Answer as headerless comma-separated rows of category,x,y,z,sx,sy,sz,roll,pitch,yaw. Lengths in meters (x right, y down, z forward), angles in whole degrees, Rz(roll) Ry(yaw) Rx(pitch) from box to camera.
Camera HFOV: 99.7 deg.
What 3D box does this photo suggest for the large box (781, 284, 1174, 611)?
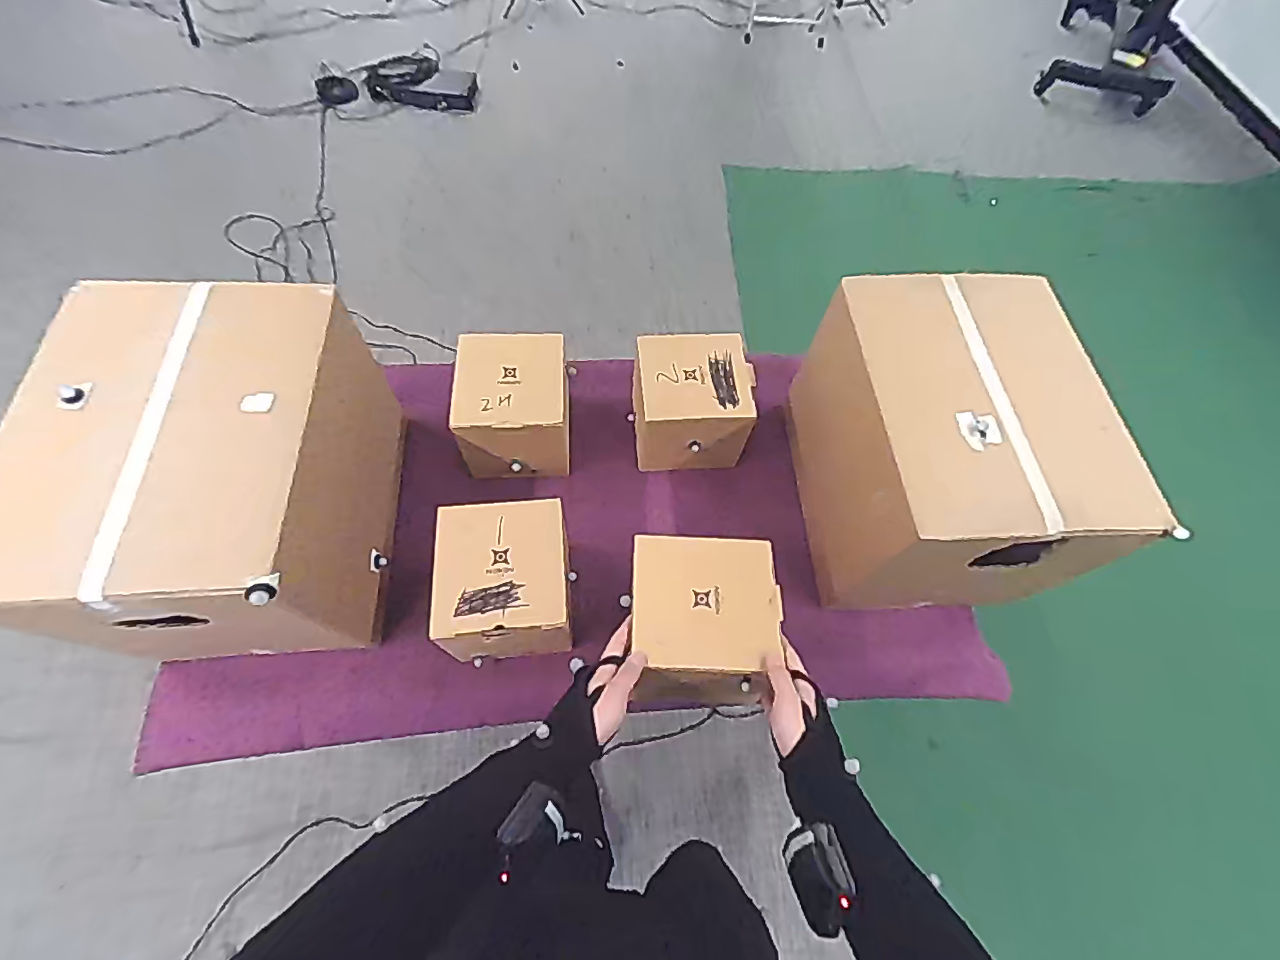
large box,0.437,-0.036,0.824,0.320,0.320,0.408,-1,64,-4
